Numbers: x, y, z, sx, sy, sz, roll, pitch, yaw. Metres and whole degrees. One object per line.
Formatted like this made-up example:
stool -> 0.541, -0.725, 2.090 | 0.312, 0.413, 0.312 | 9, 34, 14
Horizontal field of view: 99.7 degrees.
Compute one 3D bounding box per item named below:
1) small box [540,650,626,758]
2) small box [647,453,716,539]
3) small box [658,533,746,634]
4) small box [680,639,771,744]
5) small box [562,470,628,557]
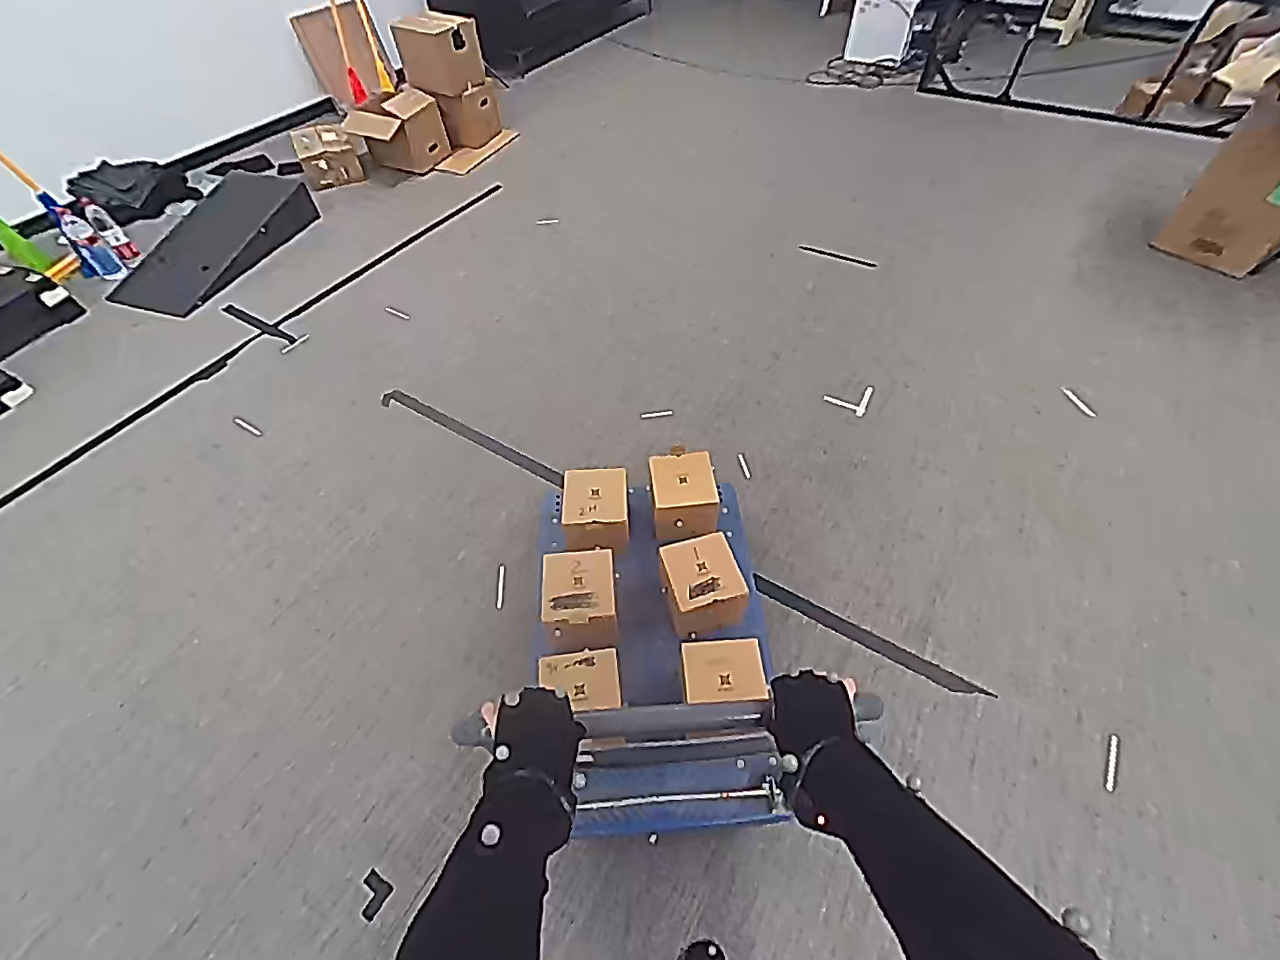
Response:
small box -> -0.120, 0.486, 1.161 | 0.168, 0.176, 0.179 | -6, 52, -4
small box -> 0.112, 0.050, 1.499 | 0.168, 0.176, 0.179 | -6, 52, -3
small box -> 0.147, 0.262, 1.331 | 0.168, 0.176, 0.179 | -13, 52, -9
small box -> 0.177, 0.463, 1.173 | 0.168, 0.176, 0.179 | -3, 51, -1
small box -> -0.118, 0.093, 1.469 | 0.168, 0.176, 0.179 | -2, 53, 0
